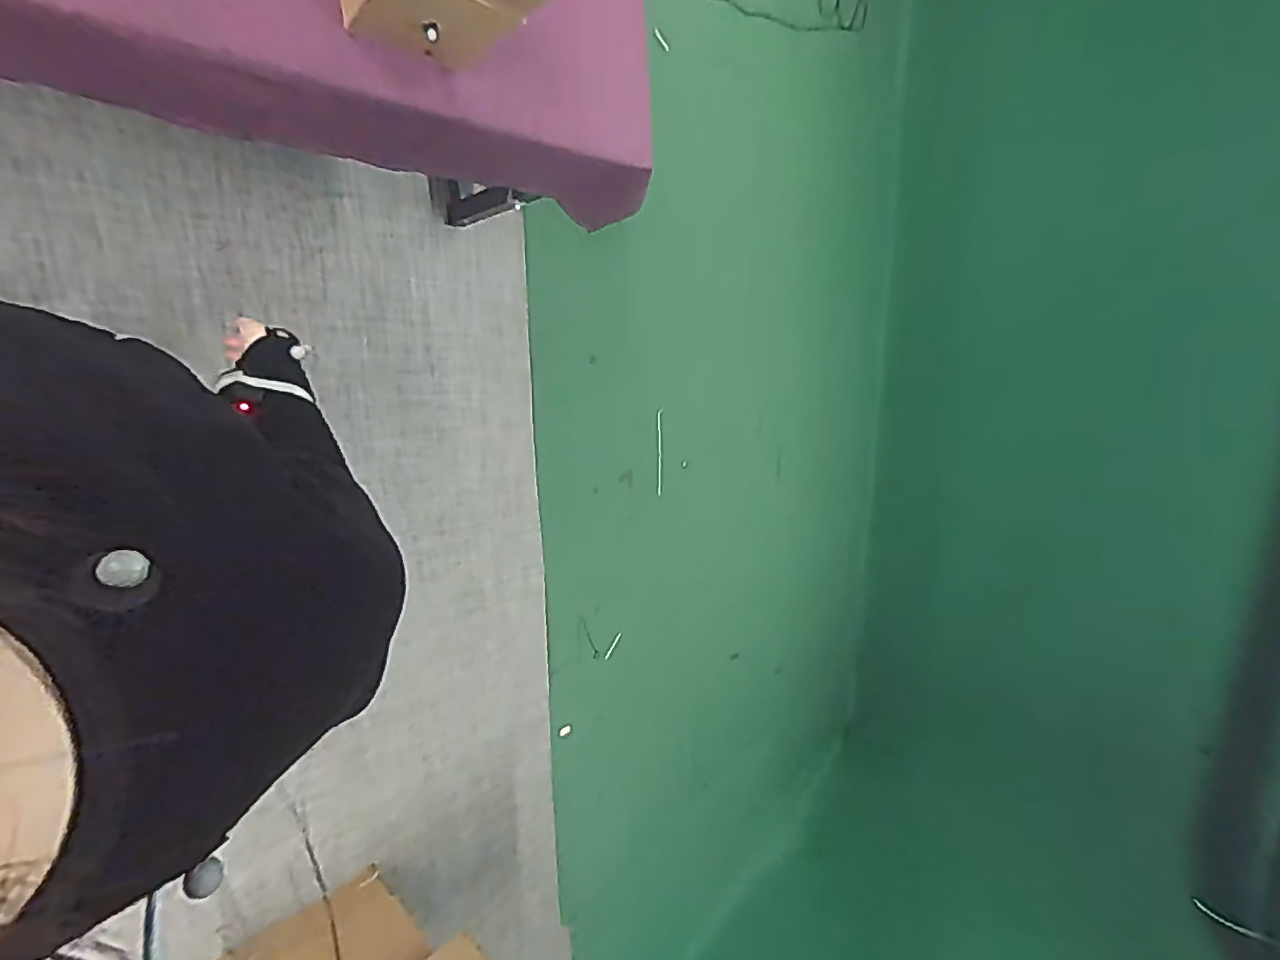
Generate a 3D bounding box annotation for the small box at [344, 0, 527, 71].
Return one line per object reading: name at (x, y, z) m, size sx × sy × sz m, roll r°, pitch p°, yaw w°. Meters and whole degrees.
small box at (-0.261, -0.654, 0.669) m, size 0.168 × 0.176 × 0.179 m, roll -15°, pitch 107°, yaw -45°

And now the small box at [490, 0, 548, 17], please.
small box at (-0.143, -0.638, 0.557) m, size 0.168 × 0.176 × 0.179 m, roll -12°, pitch 105°, yaw -45°
